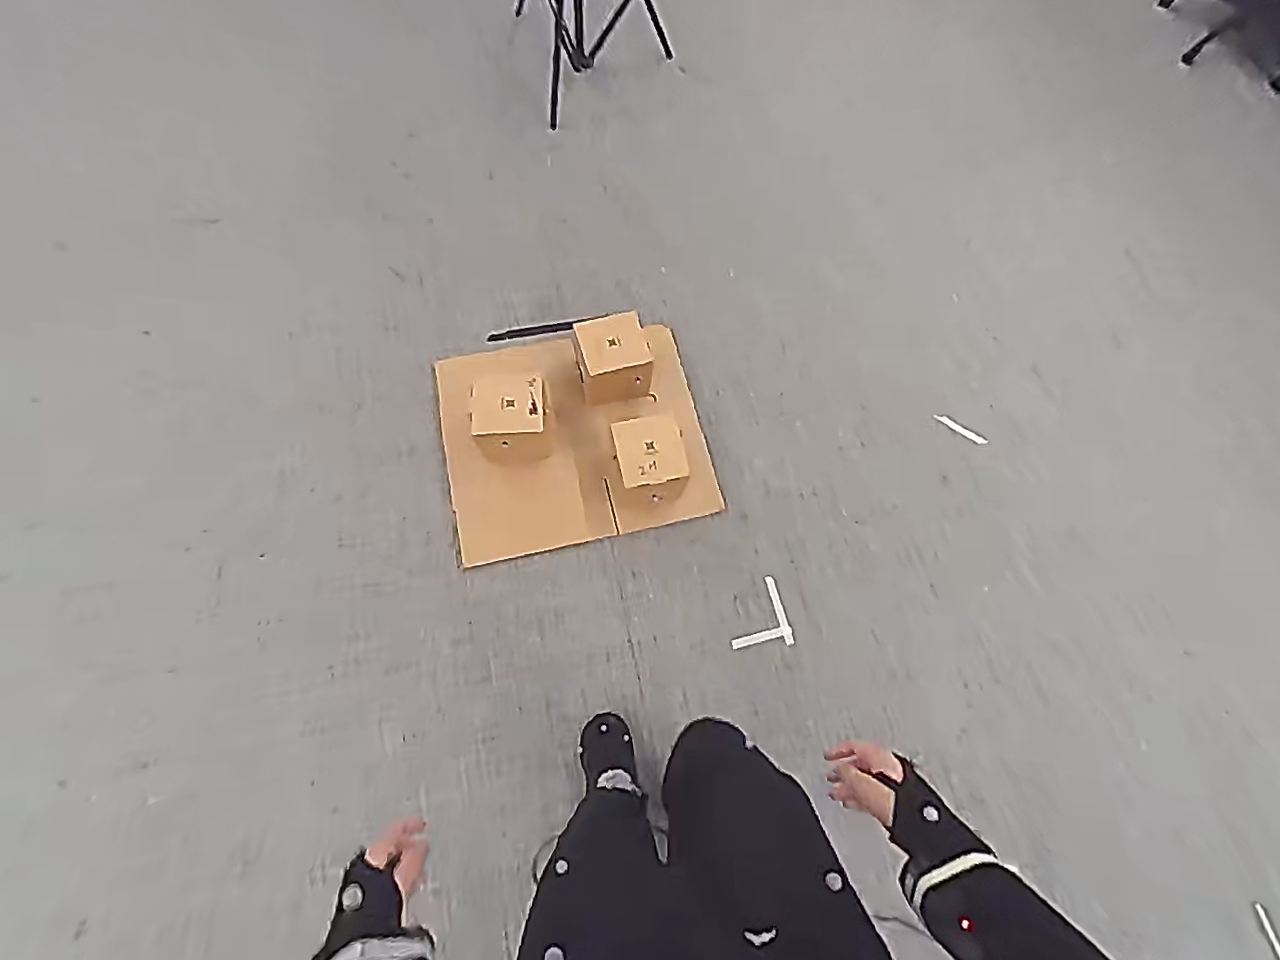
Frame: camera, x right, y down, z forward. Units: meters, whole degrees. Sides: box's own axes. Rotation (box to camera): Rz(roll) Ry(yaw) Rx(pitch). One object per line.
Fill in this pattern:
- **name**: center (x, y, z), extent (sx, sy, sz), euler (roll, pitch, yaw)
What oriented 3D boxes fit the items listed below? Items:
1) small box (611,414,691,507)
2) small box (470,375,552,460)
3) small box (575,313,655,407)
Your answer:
- **small box**: center (0.021, -0.046, 1.388), extent (0.168, 0.176, 0.179), euler (-11, 73, -7)
- **small box**: center (-0.328, -0.157, 1.401), extent (0.179, 0.176, 0.168), euler (-3, 71, -4)
- **small box**: center (-0.073, -0.324, 1.482), extent (0.179, 0.176, 0.168), euler (-16, 71, -10)
